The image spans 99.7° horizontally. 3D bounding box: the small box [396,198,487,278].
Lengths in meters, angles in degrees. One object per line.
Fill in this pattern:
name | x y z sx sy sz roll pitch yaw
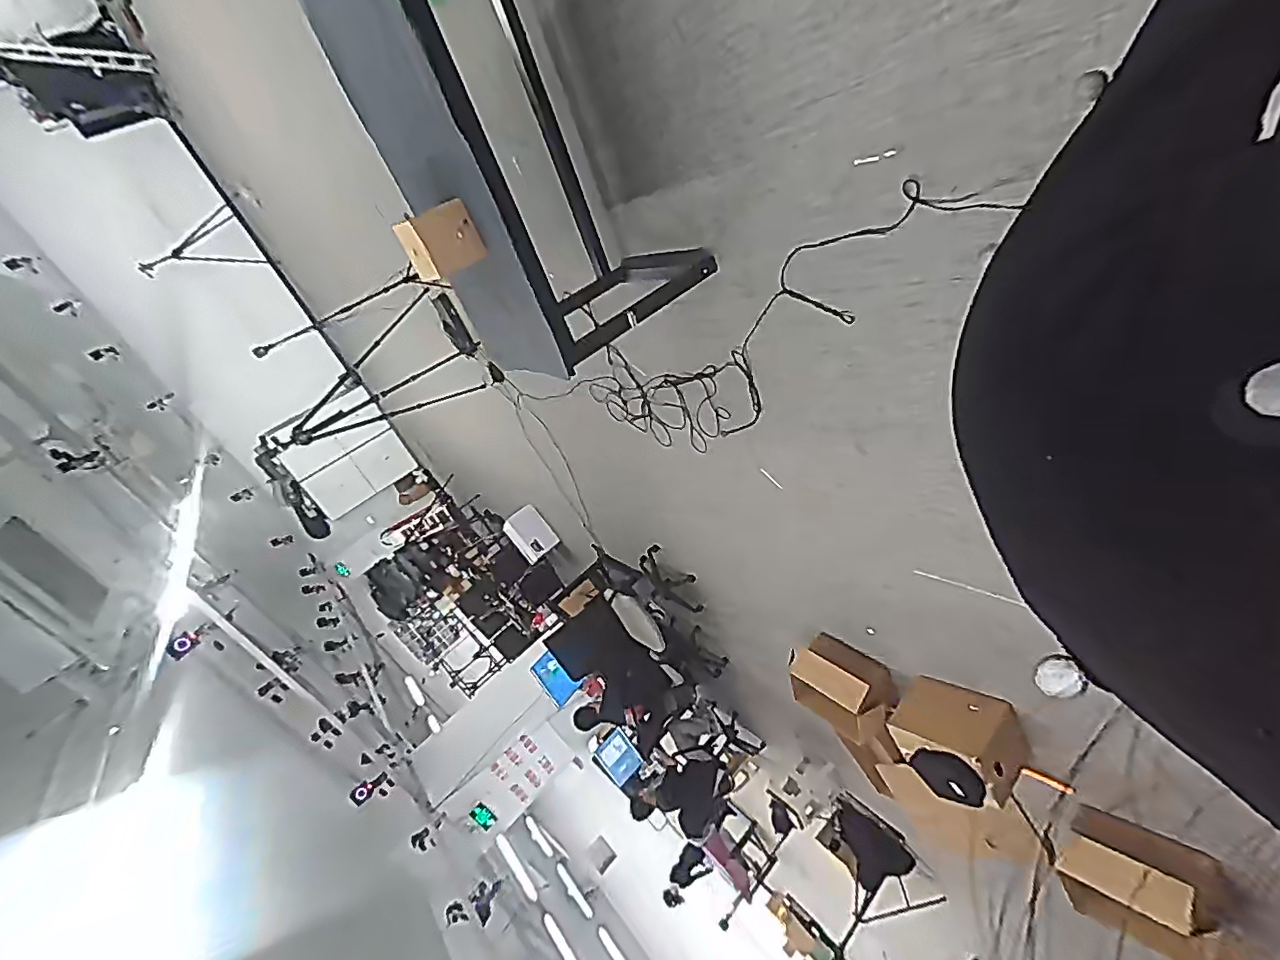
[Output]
small box | -0.584 -0.714 1.604 0.179 0.176 0.168 21 143 48
